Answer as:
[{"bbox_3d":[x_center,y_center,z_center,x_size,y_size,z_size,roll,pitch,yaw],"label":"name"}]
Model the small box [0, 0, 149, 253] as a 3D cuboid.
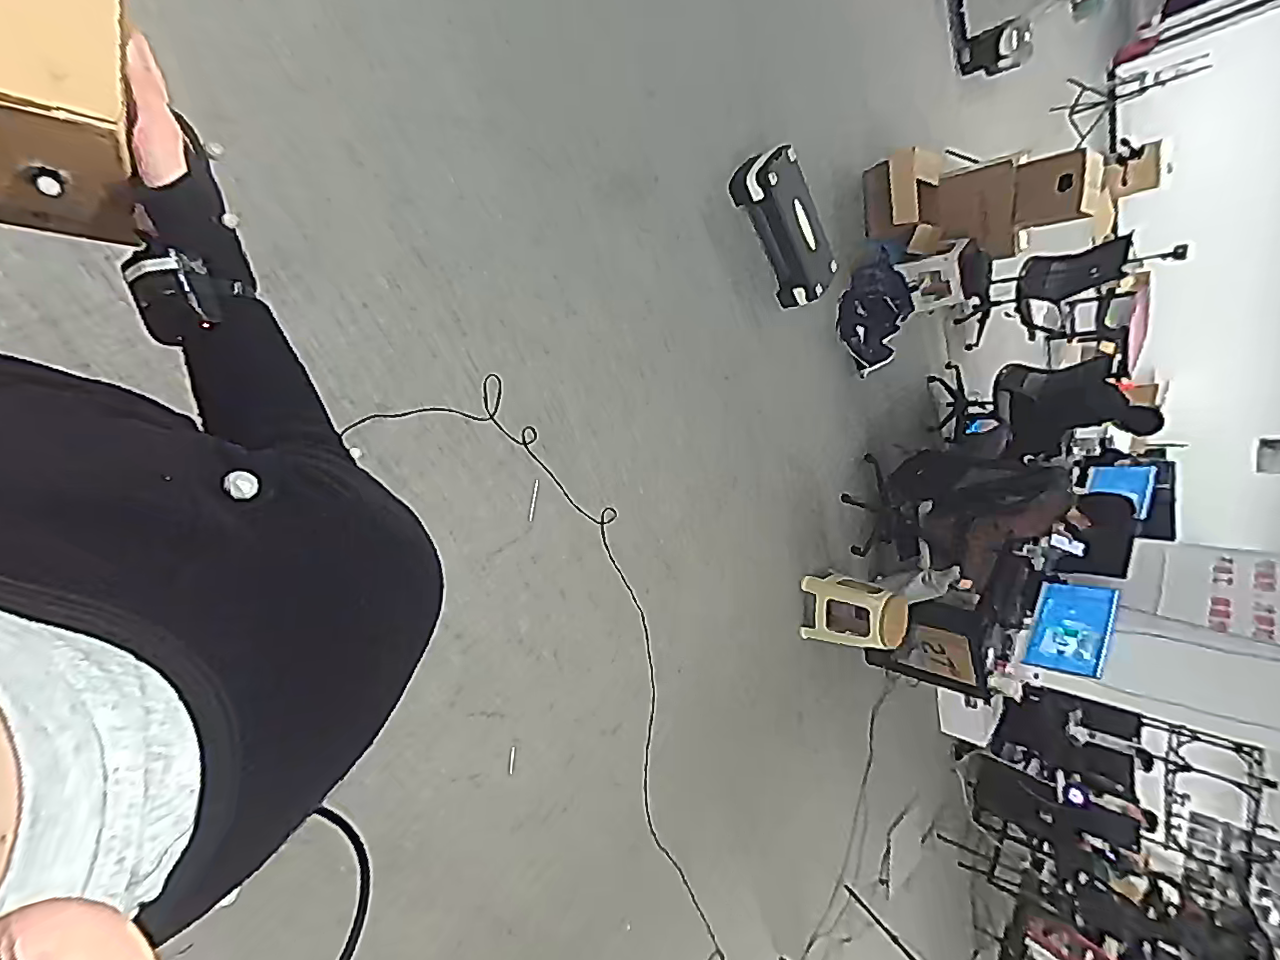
[{"bbox_3d":[-0.473,-0.297,0.392,0.168,0.176,0.179,-2,79,-41],"label":"small box"}]
